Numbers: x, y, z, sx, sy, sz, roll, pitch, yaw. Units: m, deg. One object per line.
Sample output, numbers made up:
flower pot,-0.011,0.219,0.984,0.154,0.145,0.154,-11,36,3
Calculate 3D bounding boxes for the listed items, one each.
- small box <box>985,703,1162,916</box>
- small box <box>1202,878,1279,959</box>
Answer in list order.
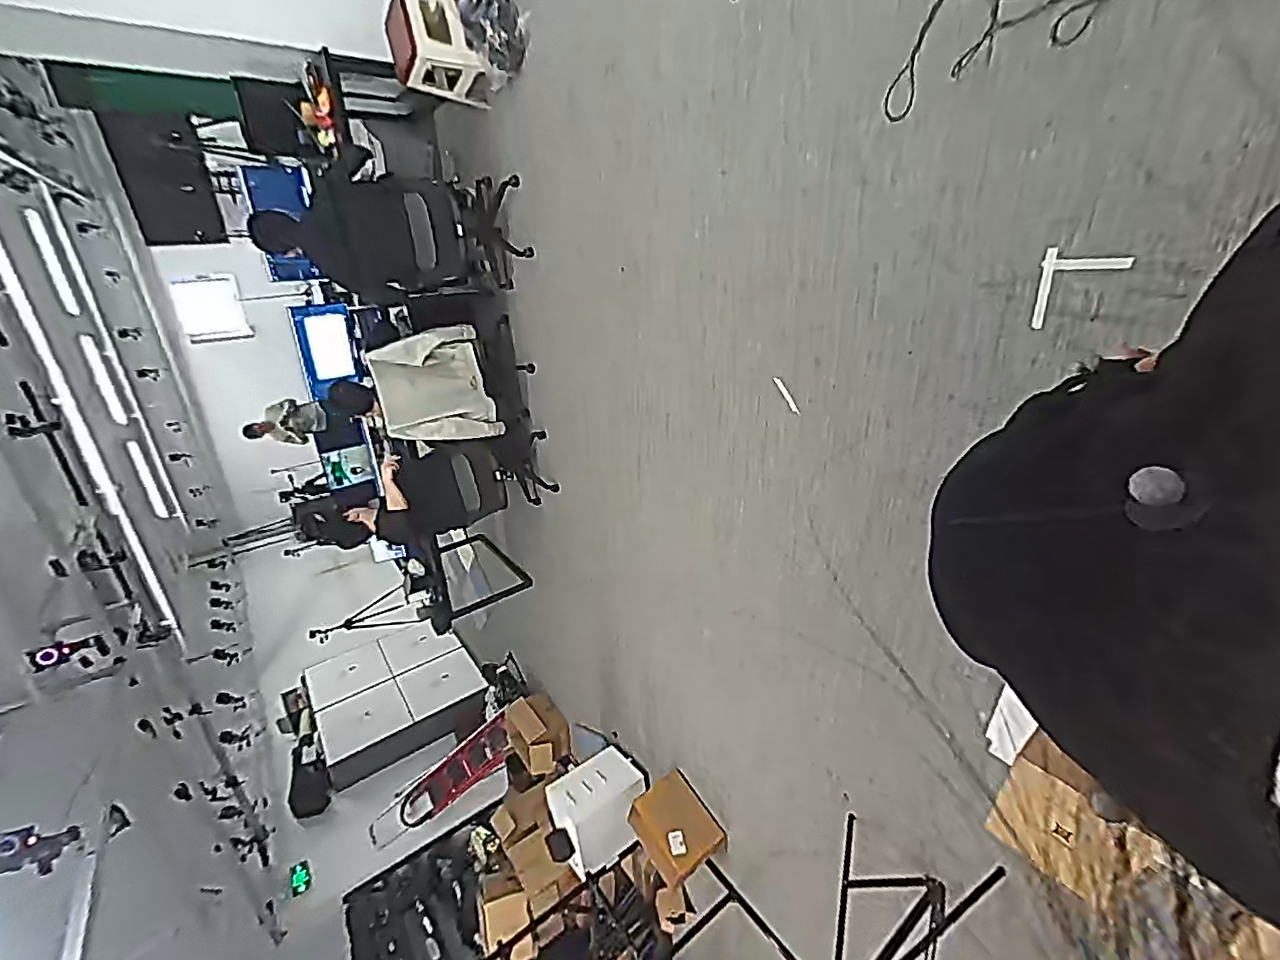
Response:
small box,0.663,0.481,0.814,0.168,0.176,0.179,28,126,45
small box,0.813,0.571,0.634,0.168,0.176,0.179,31,131,45
